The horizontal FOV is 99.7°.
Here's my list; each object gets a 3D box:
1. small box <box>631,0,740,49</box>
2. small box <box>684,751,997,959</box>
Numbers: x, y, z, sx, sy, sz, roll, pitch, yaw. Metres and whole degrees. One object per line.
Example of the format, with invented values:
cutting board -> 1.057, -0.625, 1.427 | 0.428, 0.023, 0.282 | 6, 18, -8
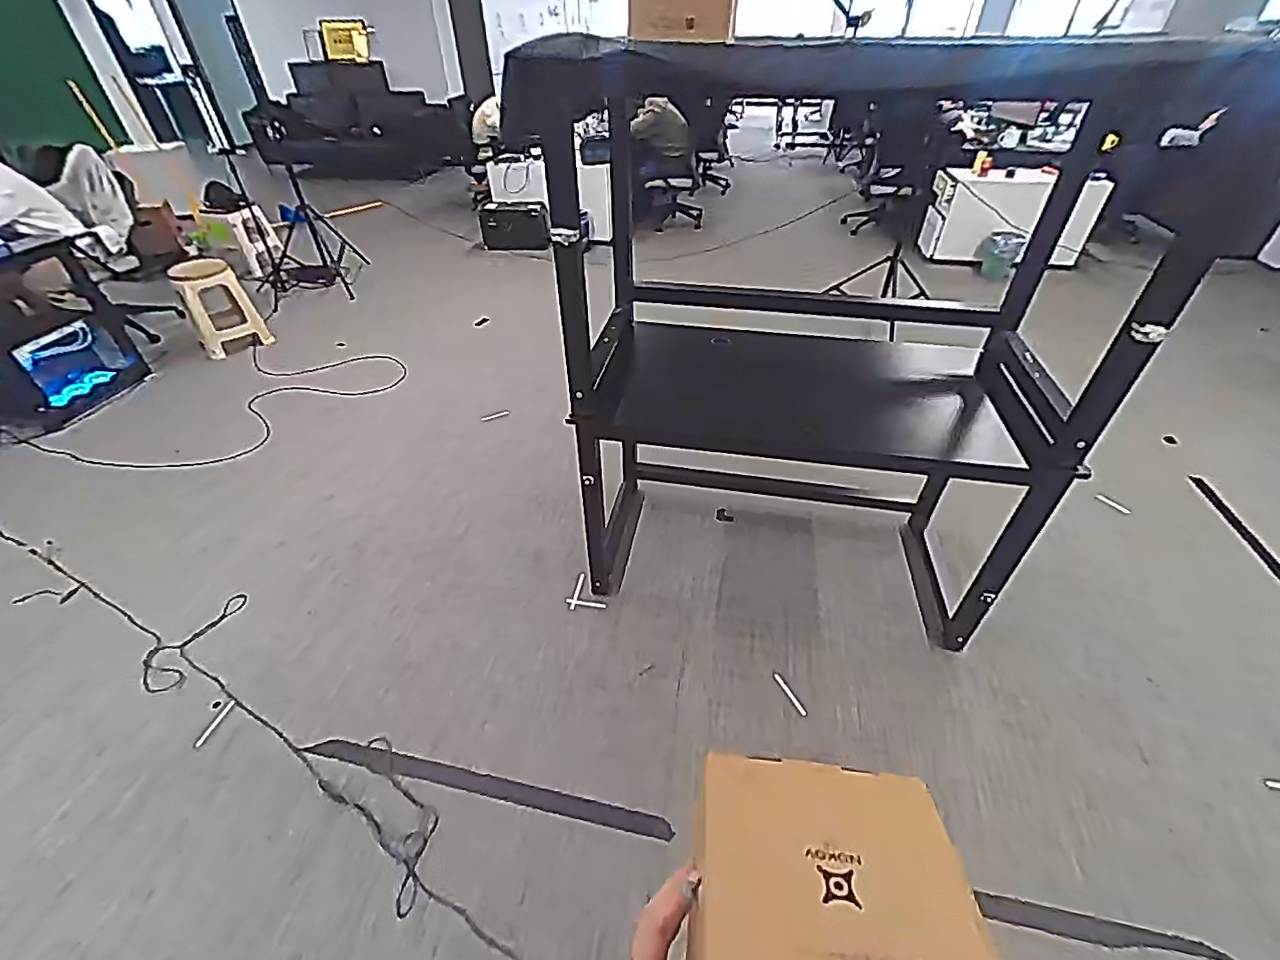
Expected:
small box -> 0.080, -0.819, 0.888 | 0.168, 0.176, 0.179 | 9, 39, 8
small box -> 0.117, 0.325, 0.364 | 0.168, 0.176, 0.179 | 5, 22, 5
